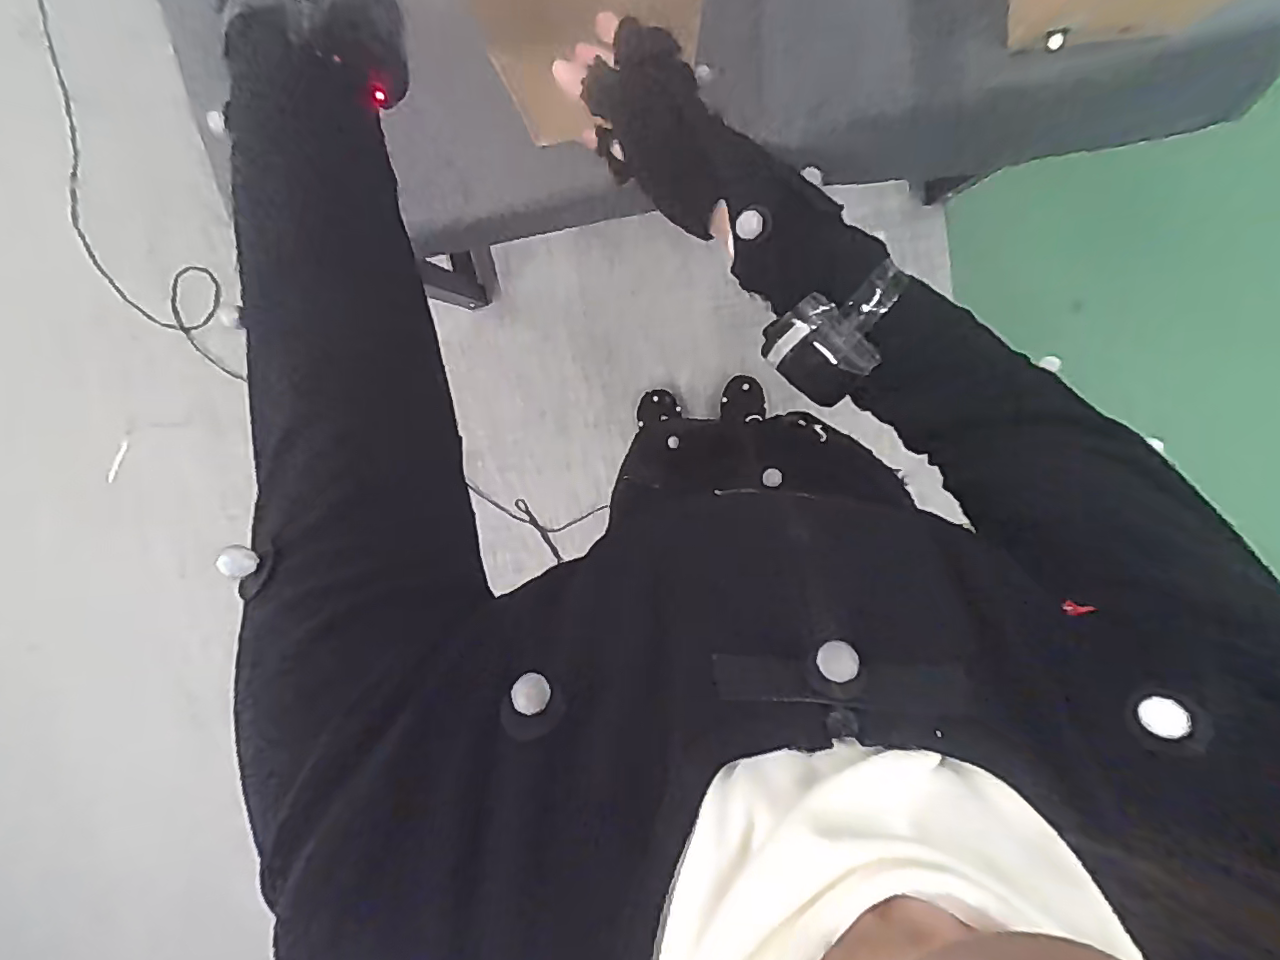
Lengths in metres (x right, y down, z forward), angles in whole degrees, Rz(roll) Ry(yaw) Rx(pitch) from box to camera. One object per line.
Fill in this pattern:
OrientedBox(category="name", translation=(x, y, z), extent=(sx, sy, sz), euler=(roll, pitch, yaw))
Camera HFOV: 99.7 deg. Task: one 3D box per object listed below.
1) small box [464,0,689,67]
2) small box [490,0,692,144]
OrientedBox(category="small box", translation=(-0.053, -0.428, 0.365), extent=(0.179, 0.176, 0.168), euler=(-10, 98, 4))
OrientedBox(category="small box", translation=(-0.049, -0.458, 0.525), extent=(0.179, 0.176, 0.168), euler=(-9, 99, 4))
